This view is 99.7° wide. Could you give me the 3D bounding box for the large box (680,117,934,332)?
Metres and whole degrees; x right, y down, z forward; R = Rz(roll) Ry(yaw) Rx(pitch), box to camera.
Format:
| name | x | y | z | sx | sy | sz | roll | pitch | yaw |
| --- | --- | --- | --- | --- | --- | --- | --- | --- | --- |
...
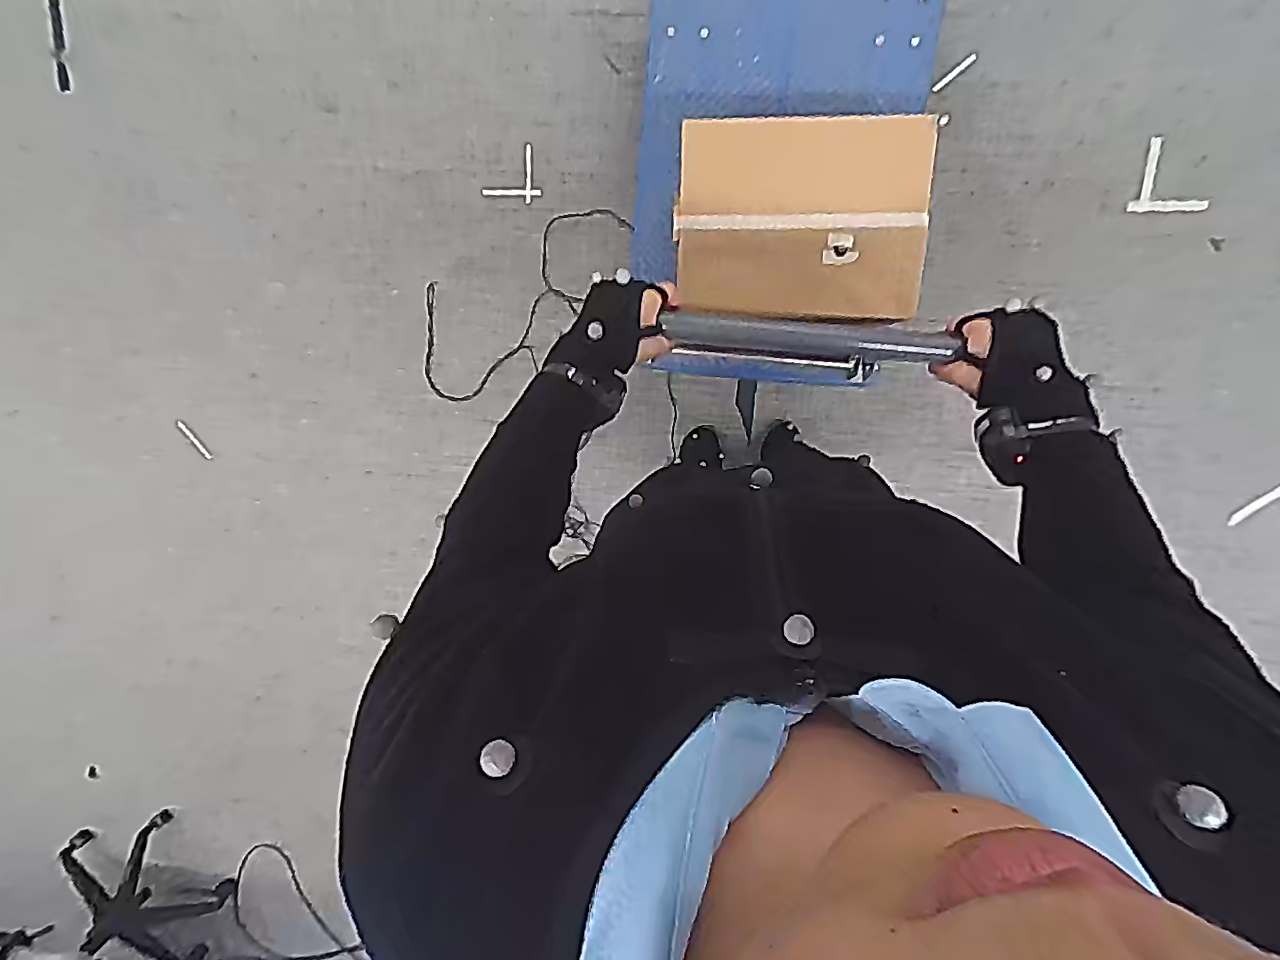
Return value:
| name | x | y | z | sx | sy | sz | roll | pitch | yaw |
| --- | --- | --- | --- | --- | --- | --- | --- | --- | --- |
| large box | 0.282 | -0.460 | 1.051 | 0.408 | 0.320 | 0.320 | 2 | 102 | 4 |
